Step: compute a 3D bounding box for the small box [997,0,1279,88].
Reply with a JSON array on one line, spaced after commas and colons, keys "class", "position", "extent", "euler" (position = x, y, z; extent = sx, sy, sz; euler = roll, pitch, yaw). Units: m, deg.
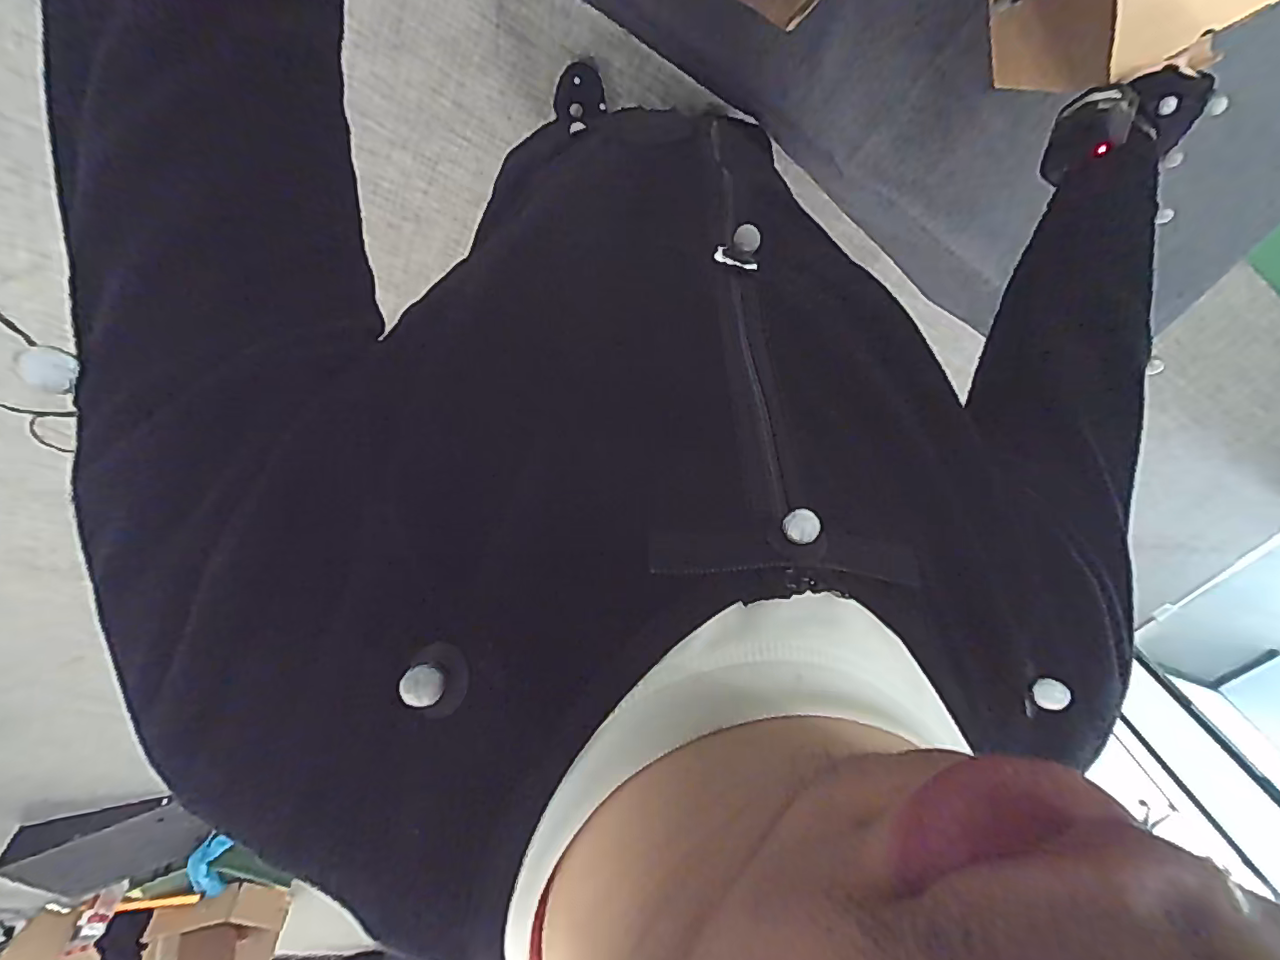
[{"class": "small box", "position": [0.457, -0.502, 0.493], "extent": [0.168, 0.176, 0.179], "euler": [-23, 128, 13]}]
